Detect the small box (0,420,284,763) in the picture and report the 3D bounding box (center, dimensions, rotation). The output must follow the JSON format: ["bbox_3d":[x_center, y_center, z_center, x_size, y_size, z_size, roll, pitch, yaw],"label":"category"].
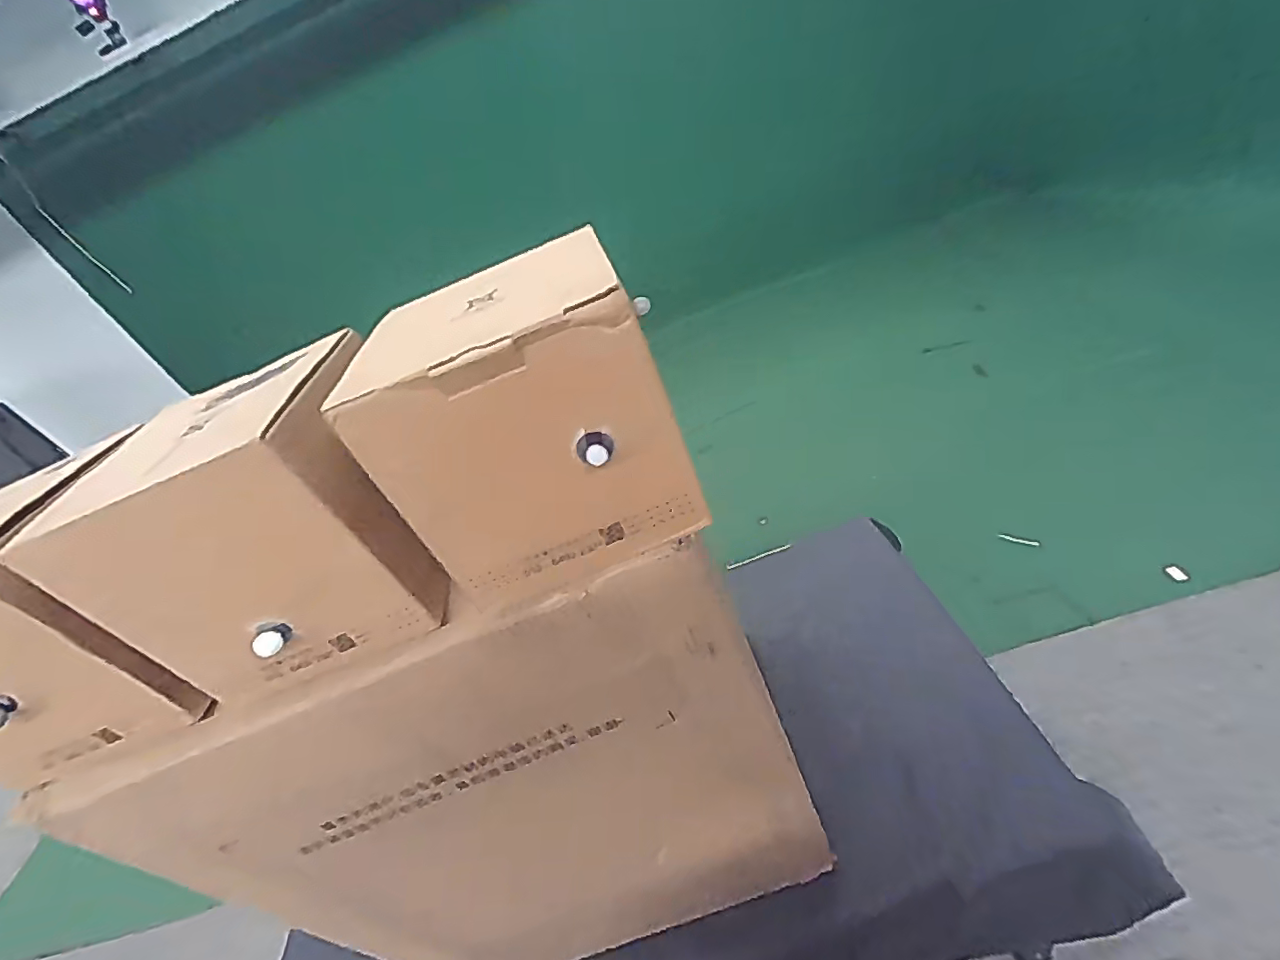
[{"bbox_3d":[-0.425,0.089,0.417,0.168,0.176,0.179,-22,36,5],"label":"small box"}]

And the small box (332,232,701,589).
[{"bbox_3d":[-0.069,-0.046,0.381,0.168,0.176,0.179,-20,34,2],"label":"small box"}]
